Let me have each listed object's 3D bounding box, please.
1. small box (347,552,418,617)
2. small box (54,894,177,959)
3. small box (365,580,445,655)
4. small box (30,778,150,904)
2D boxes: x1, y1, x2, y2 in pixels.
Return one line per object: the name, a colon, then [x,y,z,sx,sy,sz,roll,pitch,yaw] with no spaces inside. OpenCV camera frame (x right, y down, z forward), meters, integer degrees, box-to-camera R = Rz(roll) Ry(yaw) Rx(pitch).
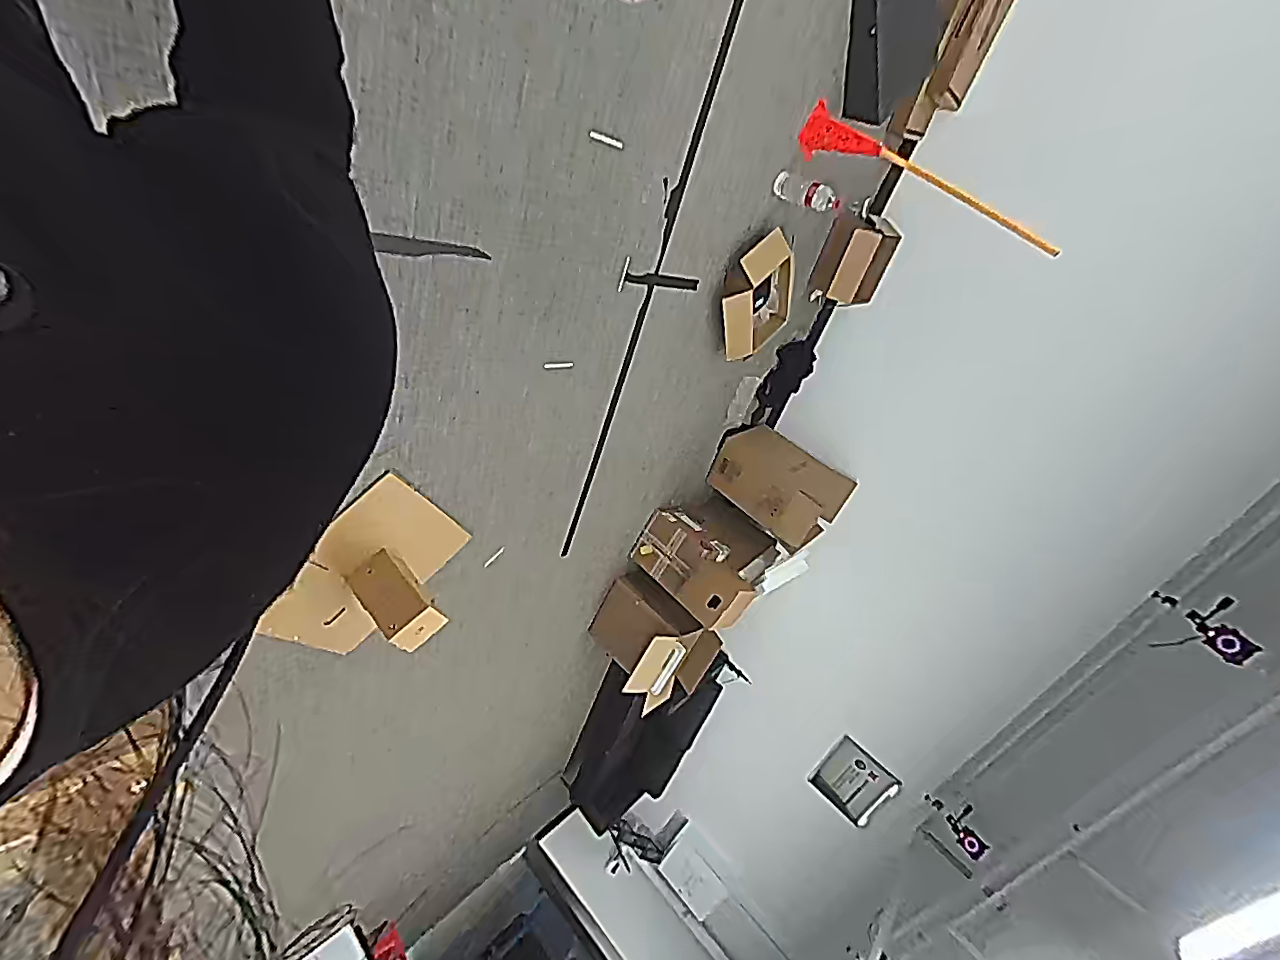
small box: [-0.970,0.406,2.036,0.179,0.176,0.168,-41,152,-15]
small box: [-1.137,1.068,1.186,0.168,0.176,0.179,-19,138,-47]
small box: [-0.854,0.496,1.964,0.179,0.176,0.168,-41,152,-16]
small box: [-1.362,0.884,1.342,0.168,0.176,0.179,-20,140,-45]
